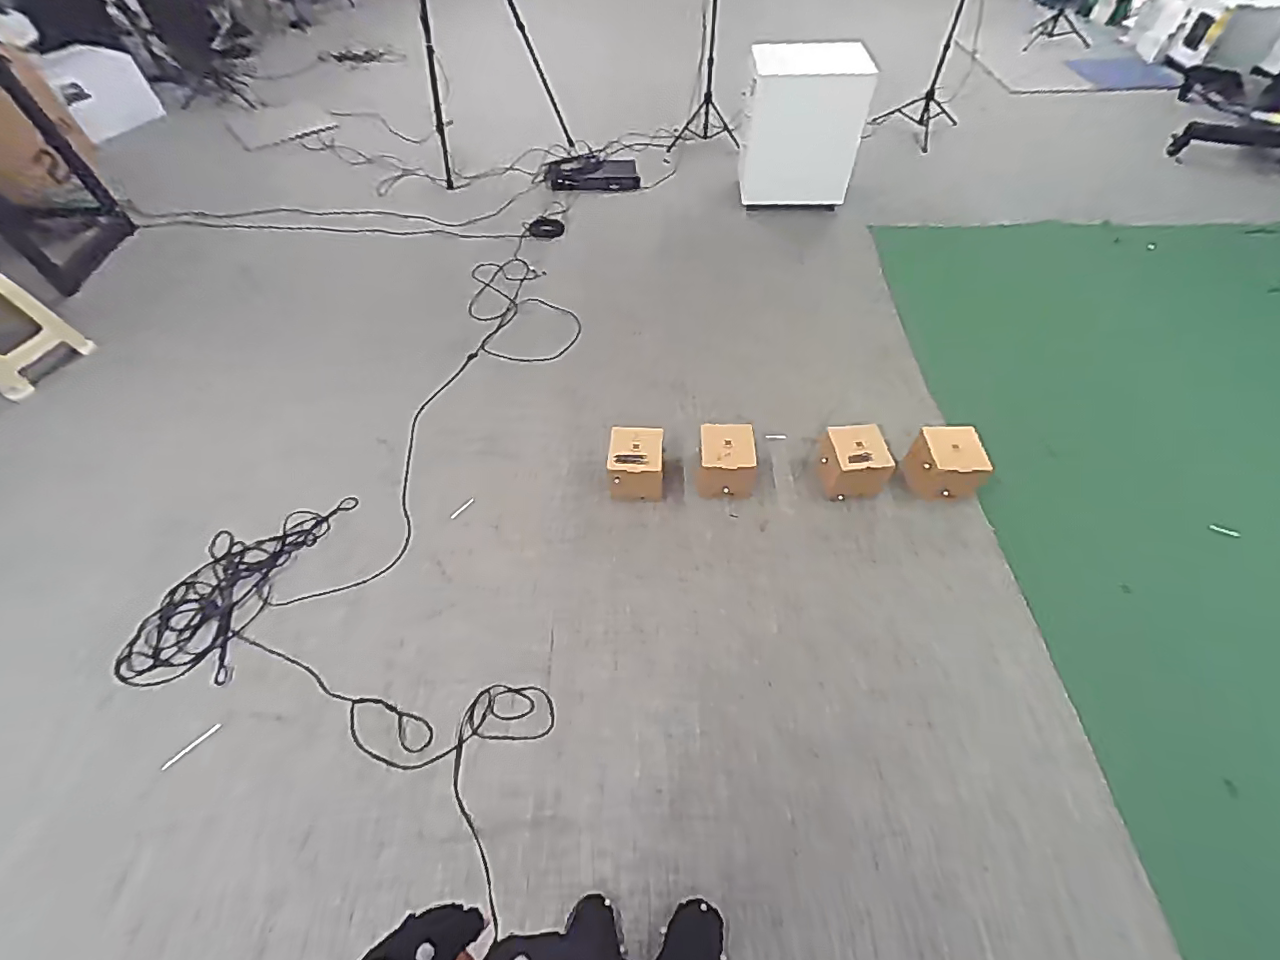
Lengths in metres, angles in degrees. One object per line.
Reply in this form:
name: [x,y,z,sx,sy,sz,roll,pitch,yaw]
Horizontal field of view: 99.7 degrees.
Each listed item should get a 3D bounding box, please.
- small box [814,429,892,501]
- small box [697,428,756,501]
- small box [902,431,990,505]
small box: [0.676,-0.042,1.738,0.168,0.176,0.179,-3,53,-2]
small box: [0.274,-0.050,1.747,0.168,0.176,0.179,0,54,2]
small box: [0.969,-0.037,1.732,0.168,0.176,0.179,-1,54,1]
